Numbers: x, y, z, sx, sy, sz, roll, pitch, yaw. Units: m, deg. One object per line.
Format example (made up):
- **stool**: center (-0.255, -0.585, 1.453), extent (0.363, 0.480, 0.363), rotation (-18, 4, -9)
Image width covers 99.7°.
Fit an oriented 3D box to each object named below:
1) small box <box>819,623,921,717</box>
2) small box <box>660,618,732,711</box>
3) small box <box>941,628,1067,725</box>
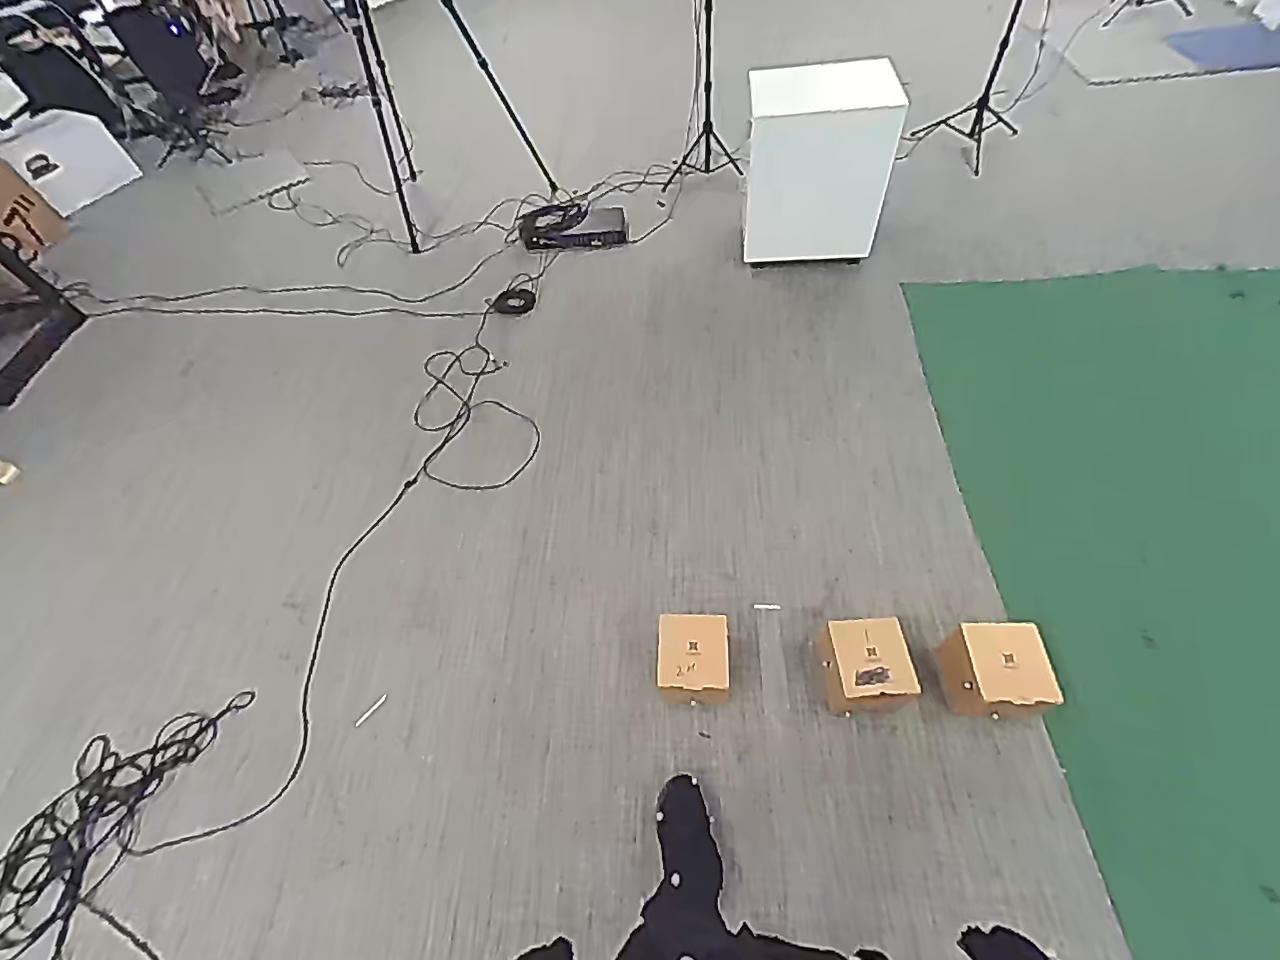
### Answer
- **small box**: center (0.539, 0.458, 1.291), extent (0.168, 0.176, 0.179), rotation (-4, 53, 3)
- **small box**: center (0.139, 0.457, 1.336), extent (0.168, 0.176, 0.179), rotation (-1, 55, 8)
- **small box**: center (0.830, 0.458, 1.258), extent (0.168, 0.176, 0.179), rotation (-2, 54, 6)
